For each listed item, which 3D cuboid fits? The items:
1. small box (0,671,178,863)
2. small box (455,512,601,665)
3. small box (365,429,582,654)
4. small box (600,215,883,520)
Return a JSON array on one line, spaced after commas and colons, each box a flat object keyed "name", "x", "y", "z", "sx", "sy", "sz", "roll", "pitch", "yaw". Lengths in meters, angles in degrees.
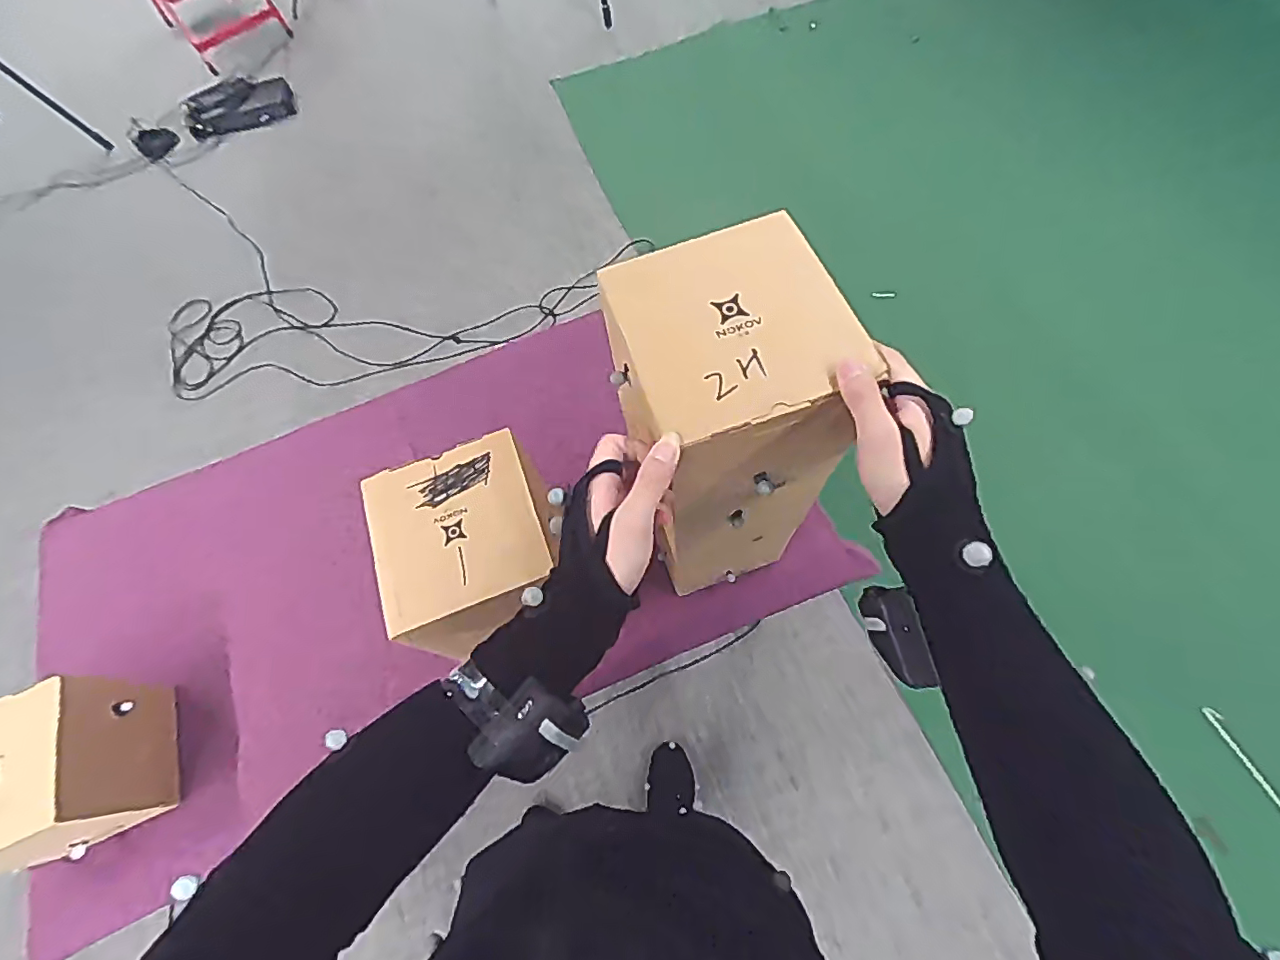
[{"name": "small box", "x": -0.748, "y": 0.371, "z": 0.700, "sx": 0.168, "sy": 0.176, "sz": 0.179, "roll": -23, "pitch": 66, "yaw": -5}, {"name": "small box", "x": -0.165, "y": 0.147, "z": 0.756, "sx": 0.168, "sy": 0.176, "sz": 0.179, "roll": -21, "pitch": 65, "yaw": -5}, {"name": "small box", "x": -0.177, "y": 0.077, "z": 0.608, "sx": 0.168, "sy": 0.176, "sz": 0.179, "roll": -21, "pitch": 66, "yaw": -4}, {"name": "small box", "x": 0.074, "y": -0.088, "z": 0.478, "sx": 0.168, "sy": 0.176, "sz": 0.179, "roll": -19, "pitch": 67, "yaw": -3}]
